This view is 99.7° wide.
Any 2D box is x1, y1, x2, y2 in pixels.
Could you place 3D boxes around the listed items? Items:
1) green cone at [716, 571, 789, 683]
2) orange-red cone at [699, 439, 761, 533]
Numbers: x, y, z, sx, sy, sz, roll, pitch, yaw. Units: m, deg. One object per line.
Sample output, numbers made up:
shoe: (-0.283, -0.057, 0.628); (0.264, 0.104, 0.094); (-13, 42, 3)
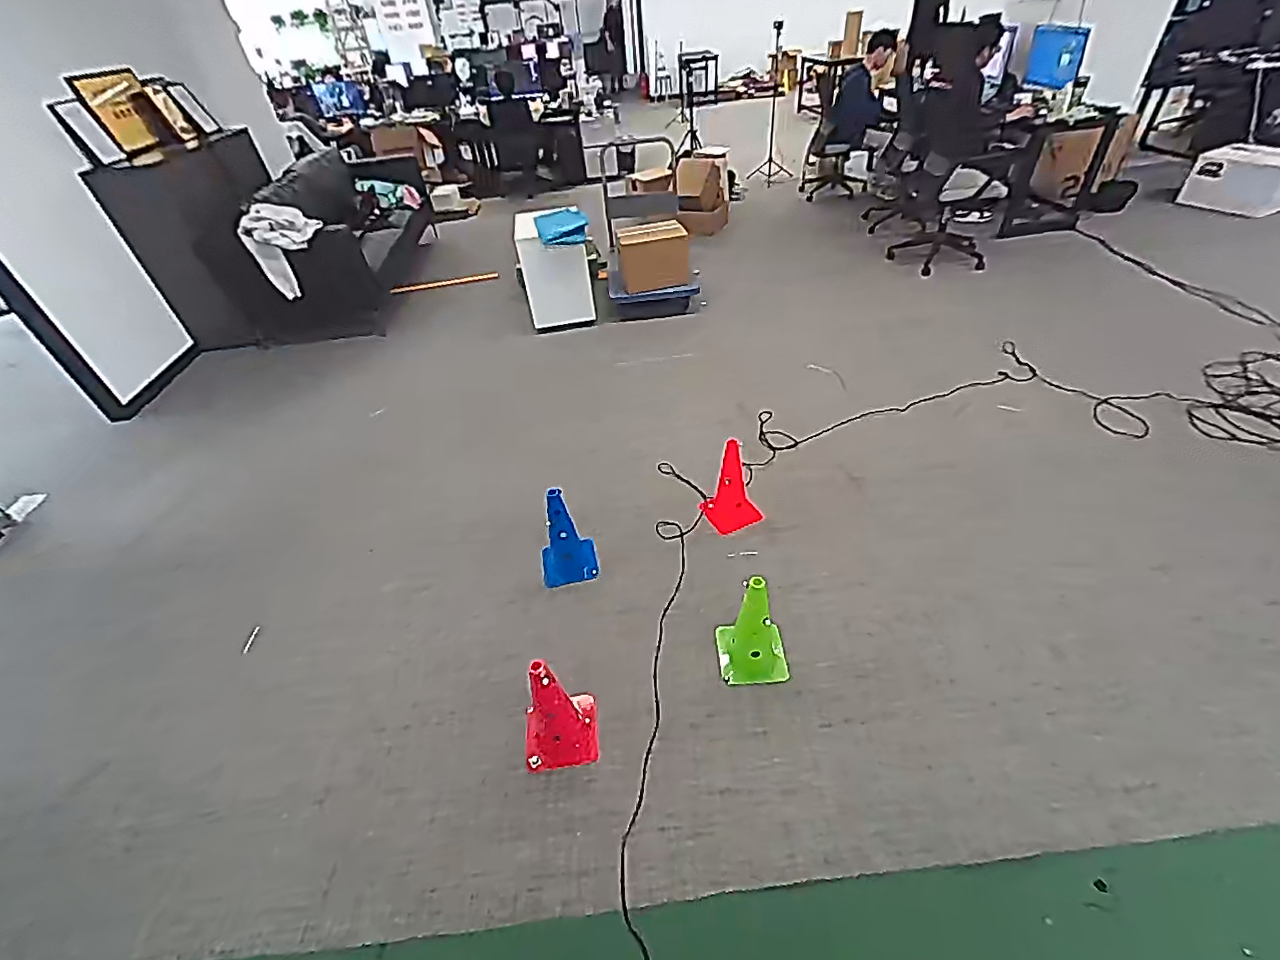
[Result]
green cone: (0.332, 0.401, 1.567); (0.200, 0.368, 0.202); (-5, 40, 1)
orange-red cone: (0.341, -0.005, 2.038); (0.198, 0.360, 0.199); (-20, 44, -13)
